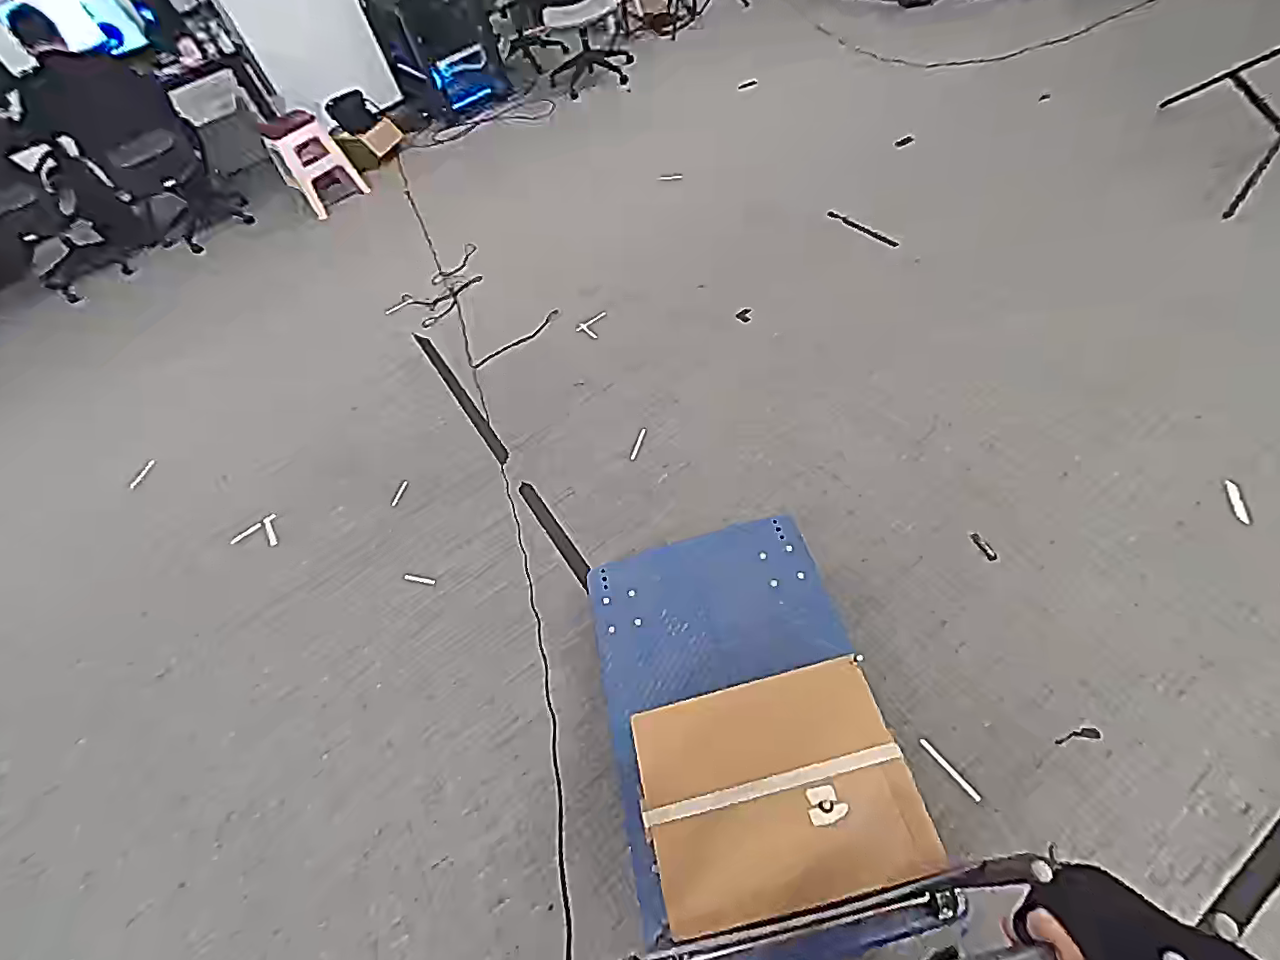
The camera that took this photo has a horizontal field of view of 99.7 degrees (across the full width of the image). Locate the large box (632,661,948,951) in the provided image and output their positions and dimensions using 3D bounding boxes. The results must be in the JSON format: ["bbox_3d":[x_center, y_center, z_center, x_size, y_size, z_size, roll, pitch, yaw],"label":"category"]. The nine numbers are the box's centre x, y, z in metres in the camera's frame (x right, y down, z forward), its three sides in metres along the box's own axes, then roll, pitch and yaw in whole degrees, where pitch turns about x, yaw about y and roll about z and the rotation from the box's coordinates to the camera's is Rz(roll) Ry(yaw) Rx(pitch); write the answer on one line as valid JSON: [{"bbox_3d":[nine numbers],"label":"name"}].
[{"bbox_3d":[0.233,0.569,0.955,0.408,0.320,0.320,-16,53,1],"label":"large box"}]
